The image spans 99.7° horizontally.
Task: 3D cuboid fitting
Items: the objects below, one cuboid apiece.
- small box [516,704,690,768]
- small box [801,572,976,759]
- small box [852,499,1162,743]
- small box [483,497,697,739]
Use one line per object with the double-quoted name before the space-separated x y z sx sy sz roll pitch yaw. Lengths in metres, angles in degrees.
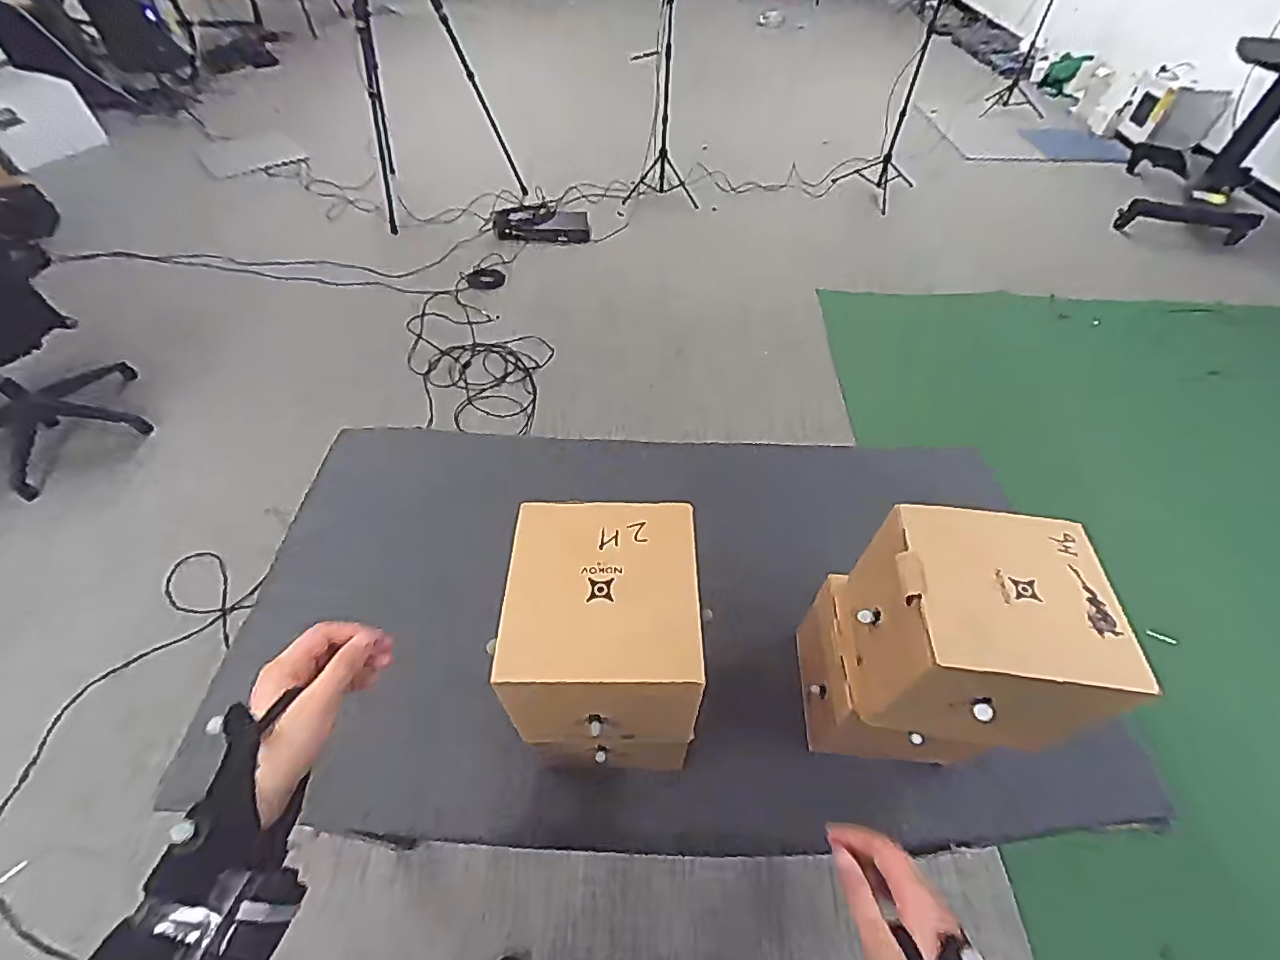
"small box" -0.035 0.235 0.648 0.179 0.176 0.168 1 50 2
"small box" 0.304 0.230 0.662 0.179 0.176 0.168 5 51 1
"small box" 0.319 0.140 0.524 0.179 0.176 0.168 6 51 4
"small box" -0.036 0.136 0.516 0.168 0.176 0.179 1 50 0
